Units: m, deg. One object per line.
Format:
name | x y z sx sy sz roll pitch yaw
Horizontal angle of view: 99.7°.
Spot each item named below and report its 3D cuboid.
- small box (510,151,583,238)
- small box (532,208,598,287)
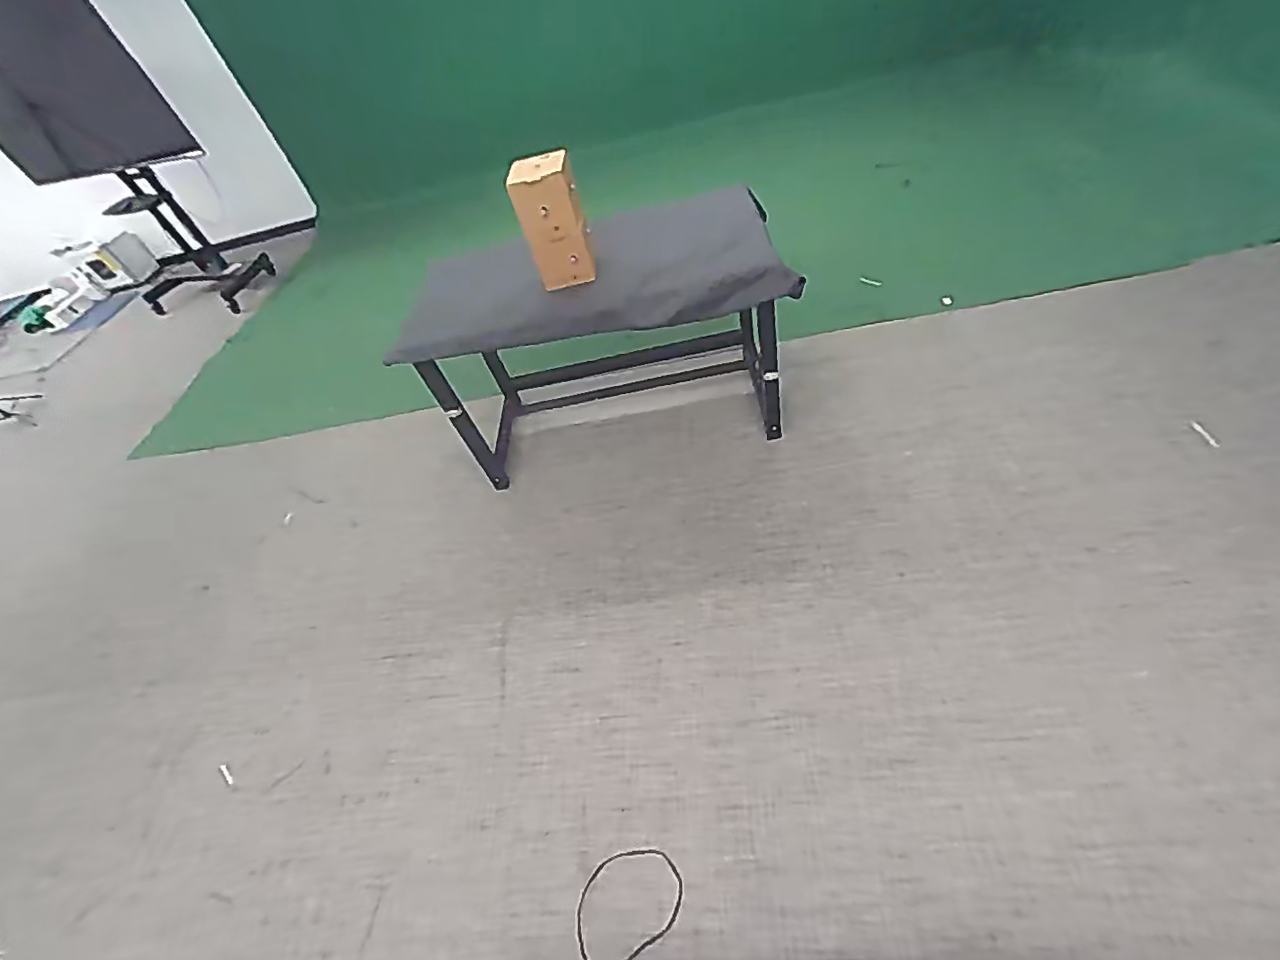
small box | -0.272 -0.845 1.615 0.168 0.176 0.179 -8 50 8
small box | -0.234 -0.736 1.732 0.168 0.176 0.179 -10 47 7
